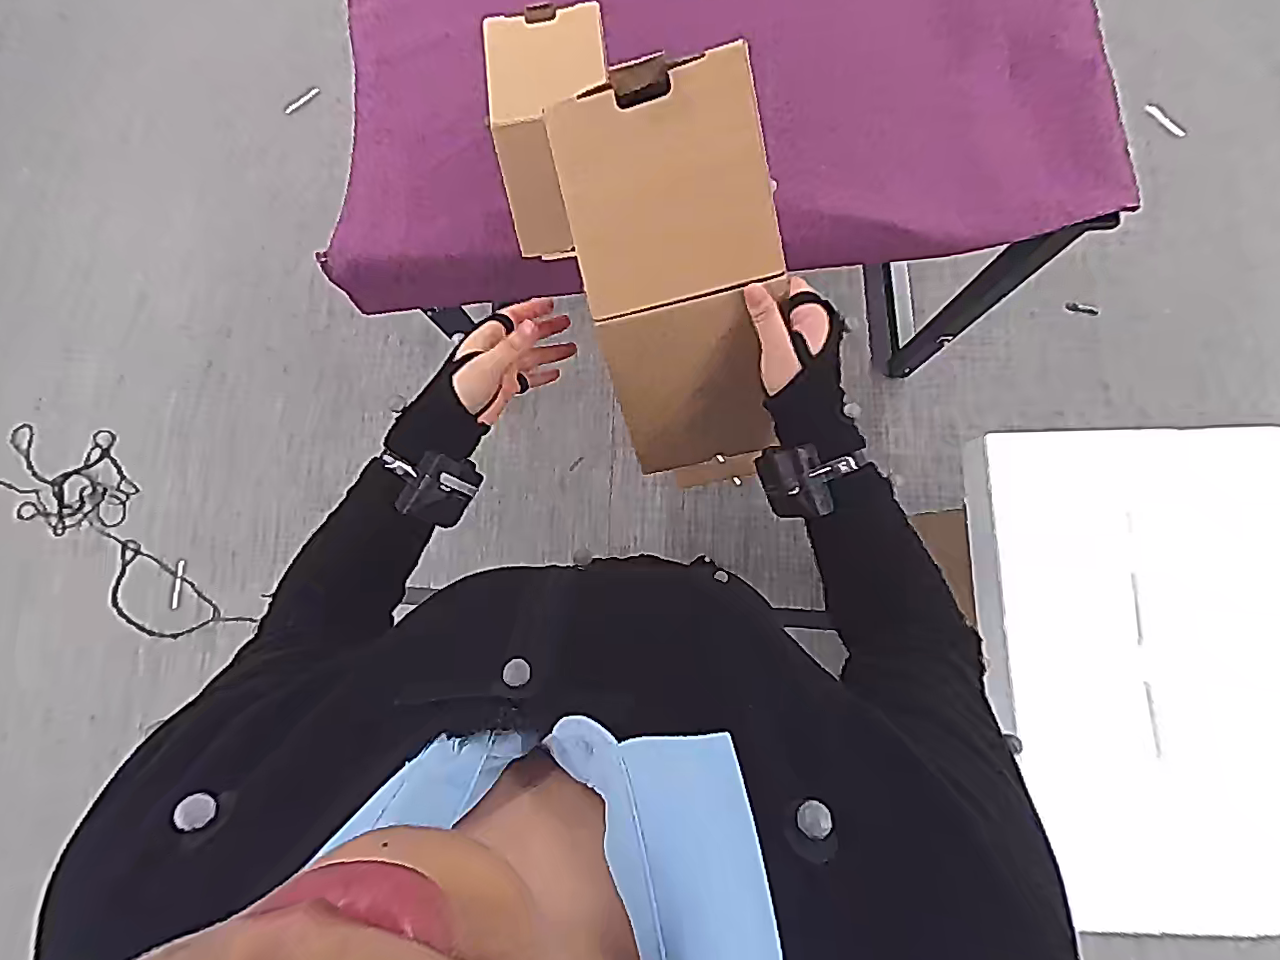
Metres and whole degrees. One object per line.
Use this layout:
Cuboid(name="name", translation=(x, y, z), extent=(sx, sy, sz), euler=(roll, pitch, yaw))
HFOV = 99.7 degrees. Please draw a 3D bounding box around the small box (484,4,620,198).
Cuboid(name="small box", translation=(-0.125, -0.554, 0.817), extent=(0.168, 0.176, 0.179), euler=(-6, 79, 2))
